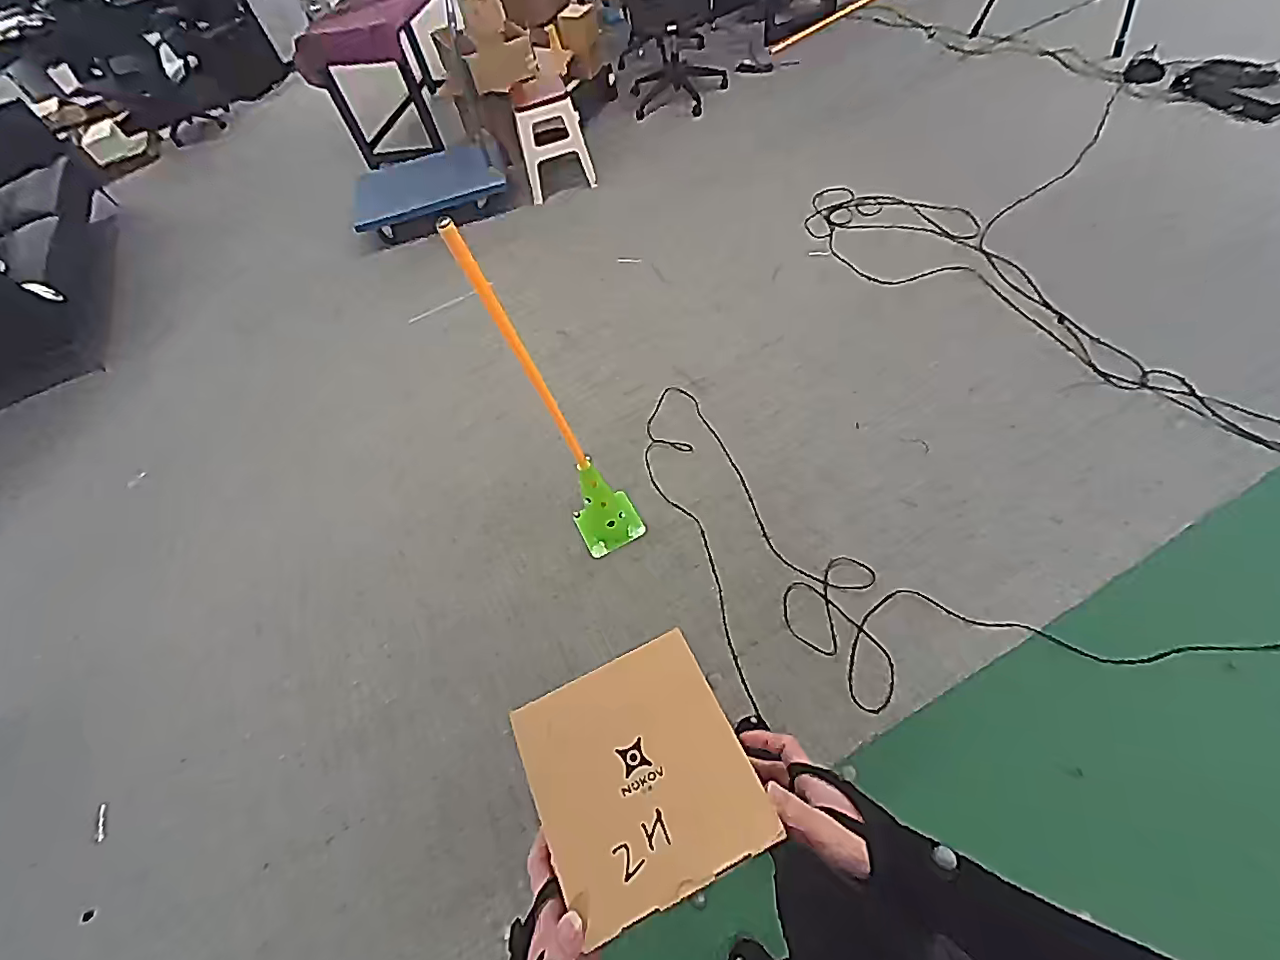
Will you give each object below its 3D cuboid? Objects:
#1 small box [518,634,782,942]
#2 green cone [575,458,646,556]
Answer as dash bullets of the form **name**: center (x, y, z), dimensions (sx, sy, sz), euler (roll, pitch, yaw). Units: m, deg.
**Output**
- **small box**: center (0.008, 0.278, 0.502), dimensions (0.168, 0.176, 0.179), euler (-24, 56, -8)
- **green cone**: center (-0.126, 0.053, 1.704), dimensions (0.202, 0.368, 0.200), euler (-26, 57, -8)
